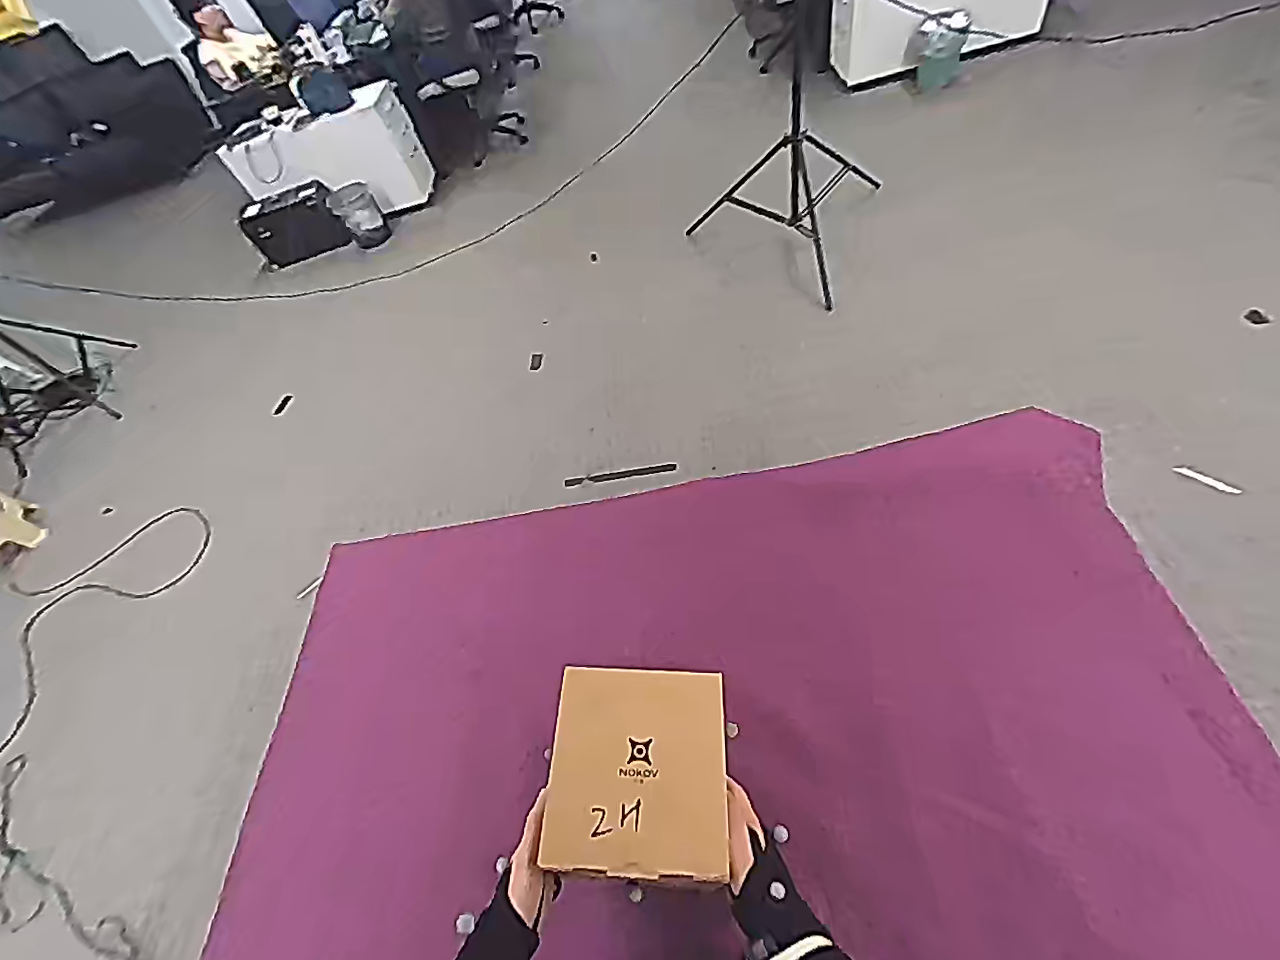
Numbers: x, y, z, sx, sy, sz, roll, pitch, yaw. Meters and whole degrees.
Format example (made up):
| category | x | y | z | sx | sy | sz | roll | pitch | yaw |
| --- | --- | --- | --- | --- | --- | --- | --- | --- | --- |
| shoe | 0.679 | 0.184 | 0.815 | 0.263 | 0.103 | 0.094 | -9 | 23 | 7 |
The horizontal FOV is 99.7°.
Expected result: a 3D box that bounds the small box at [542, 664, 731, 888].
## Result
| category | x | y | z | sx | sy | sz | roll | pitch | yaw |
| --- | --- | --- | --- | --- | --- | --- | --- | --- | --- |
| small box | 0.003 | 0.315 | 0.574 | 0.168 | 0.176 | 0.179 | 1 | 51 | 4 |
